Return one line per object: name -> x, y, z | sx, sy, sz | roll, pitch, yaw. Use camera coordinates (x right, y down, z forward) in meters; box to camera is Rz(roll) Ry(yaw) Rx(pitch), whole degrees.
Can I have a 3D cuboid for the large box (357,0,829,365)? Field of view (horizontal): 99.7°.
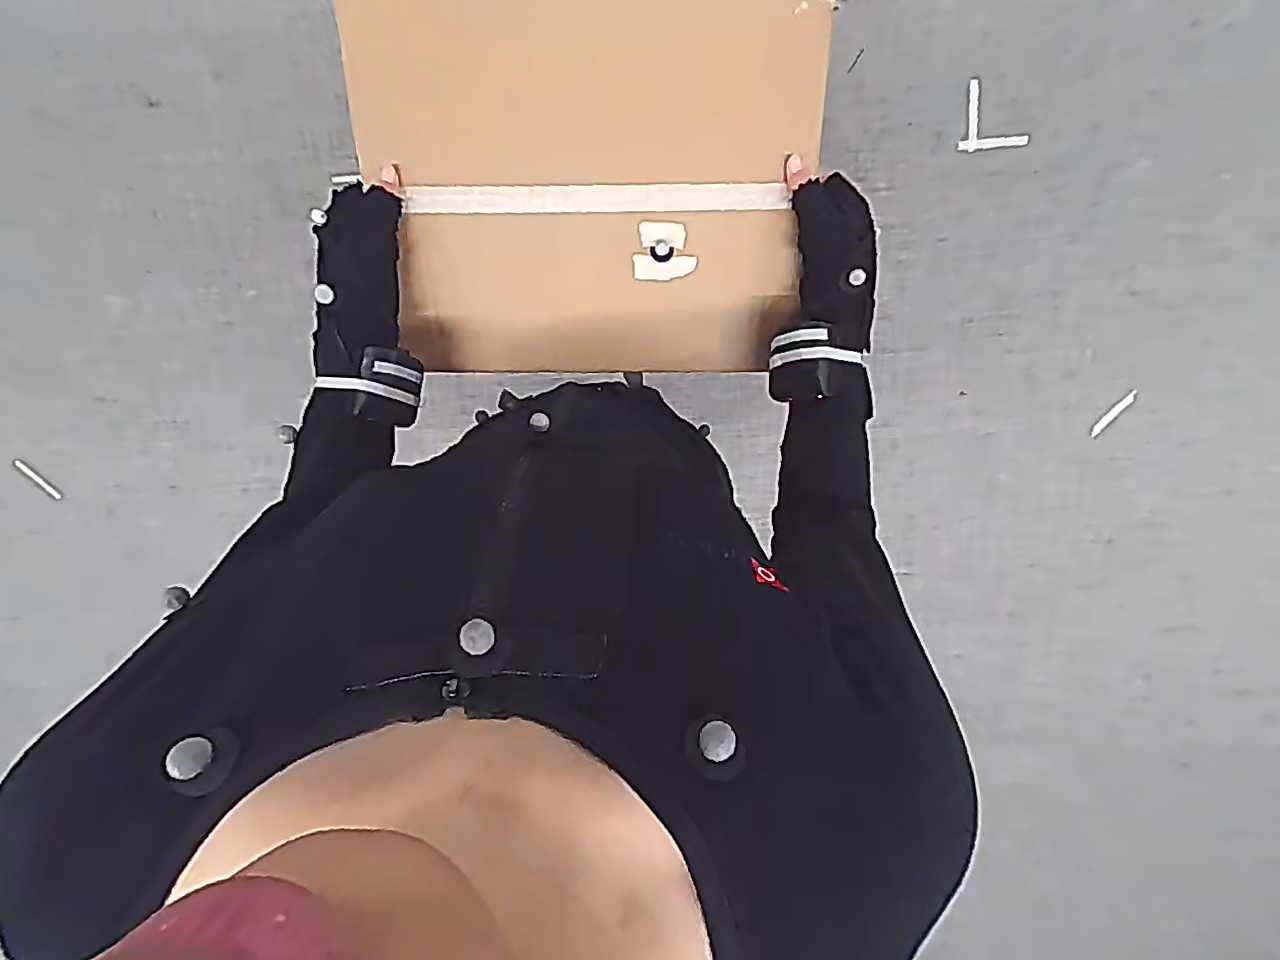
large box -> -0.038, -0.320, 0.640 | 0.408, 0.320, 0.320 | 0, 112, 1
